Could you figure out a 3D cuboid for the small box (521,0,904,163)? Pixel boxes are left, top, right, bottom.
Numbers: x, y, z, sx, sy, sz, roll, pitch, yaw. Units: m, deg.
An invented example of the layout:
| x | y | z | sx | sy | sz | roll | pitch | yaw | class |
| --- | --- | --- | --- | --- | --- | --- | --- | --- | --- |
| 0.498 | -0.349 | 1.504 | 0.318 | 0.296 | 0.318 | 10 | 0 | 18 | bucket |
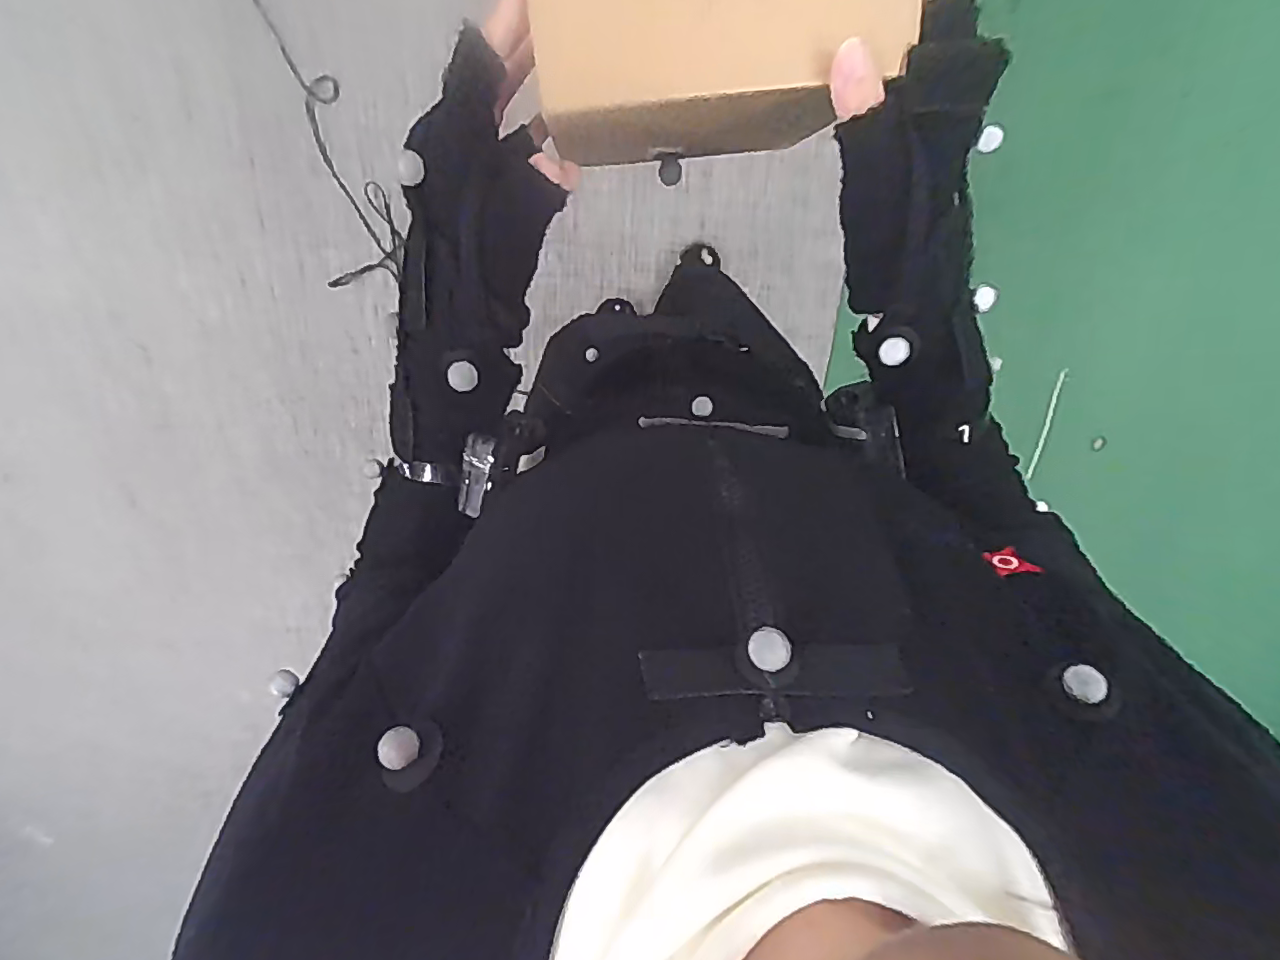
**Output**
| x | y | z | sx | sy | sz | roll | pitch | yaw | class |
| --- | --- | --- | --- | --- | --- | --- | --- | --- | --- |
| 0.021 | -0.284 | 0.281 | 0.168 | 0.176 | 0.179 | -6 | 112 | -1 | small box |
